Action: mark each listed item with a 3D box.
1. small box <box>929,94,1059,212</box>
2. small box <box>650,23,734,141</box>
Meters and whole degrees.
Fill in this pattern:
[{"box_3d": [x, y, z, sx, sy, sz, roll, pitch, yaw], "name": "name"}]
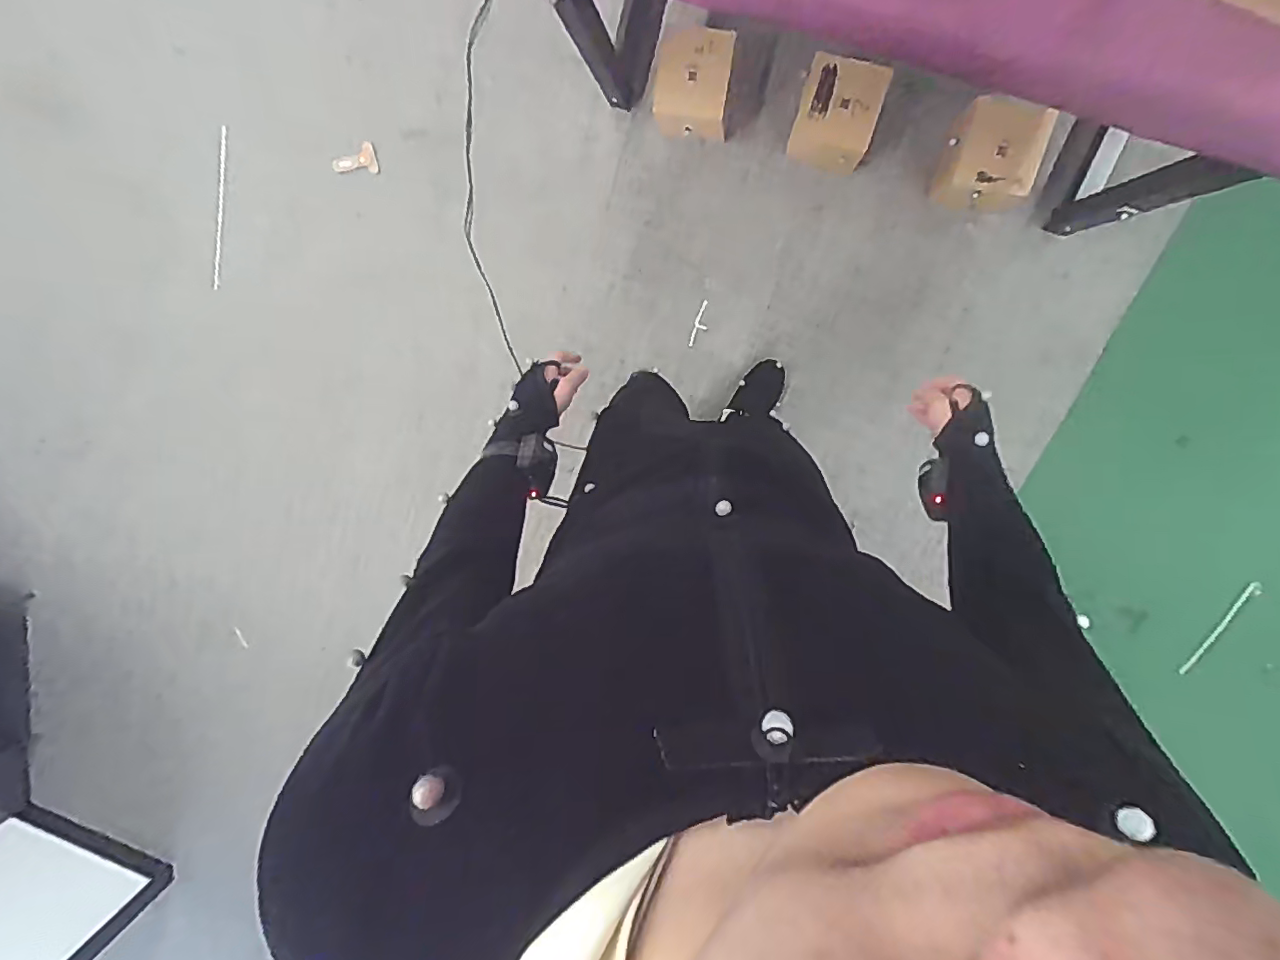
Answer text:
[{"box_3d": [0.788, -0.732, 1.227, 0.168, 0.176, 0.179, 13, 107, 6], "name": "small box"}, {"box_3d": [0.129, -0.936, 1.287, 0.168, 0.176, 0.179, 11, 107, 7], "name": "small box"}]
